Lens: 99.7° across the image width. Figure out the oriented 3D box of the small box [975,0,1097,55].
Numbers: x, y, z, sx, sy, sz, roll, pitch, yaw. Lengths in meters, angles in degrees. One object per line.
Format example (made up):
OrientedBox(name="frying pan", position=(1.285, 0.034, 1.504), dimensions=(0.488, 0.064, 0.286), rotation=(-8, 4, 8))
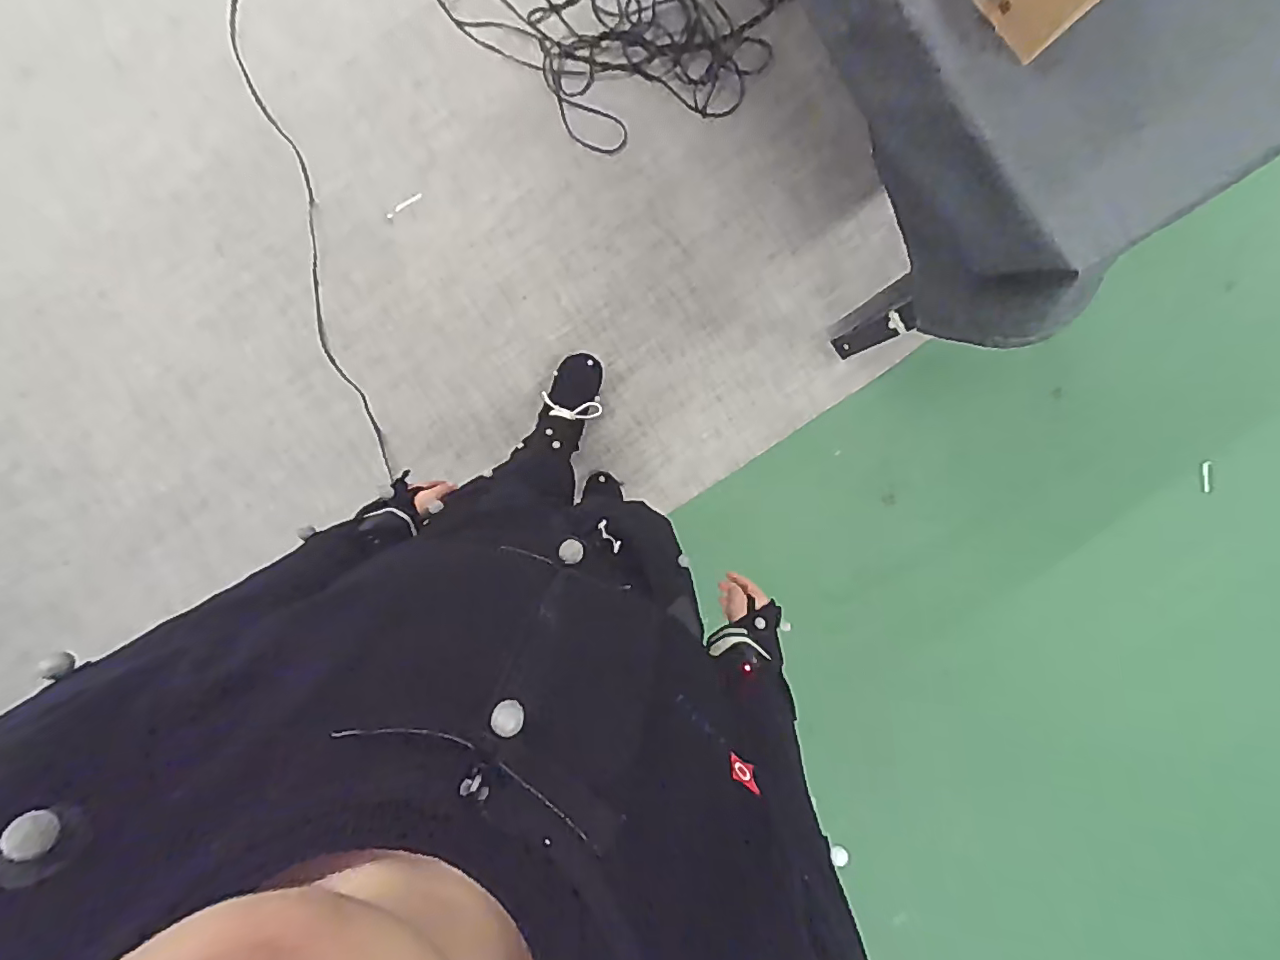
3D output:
OrientedBox(name="small box", position=(0.440, -0.579, 0.516), dimensions=(0.179, 0.176, 0.168), rotation=(-42, 92, 3))
